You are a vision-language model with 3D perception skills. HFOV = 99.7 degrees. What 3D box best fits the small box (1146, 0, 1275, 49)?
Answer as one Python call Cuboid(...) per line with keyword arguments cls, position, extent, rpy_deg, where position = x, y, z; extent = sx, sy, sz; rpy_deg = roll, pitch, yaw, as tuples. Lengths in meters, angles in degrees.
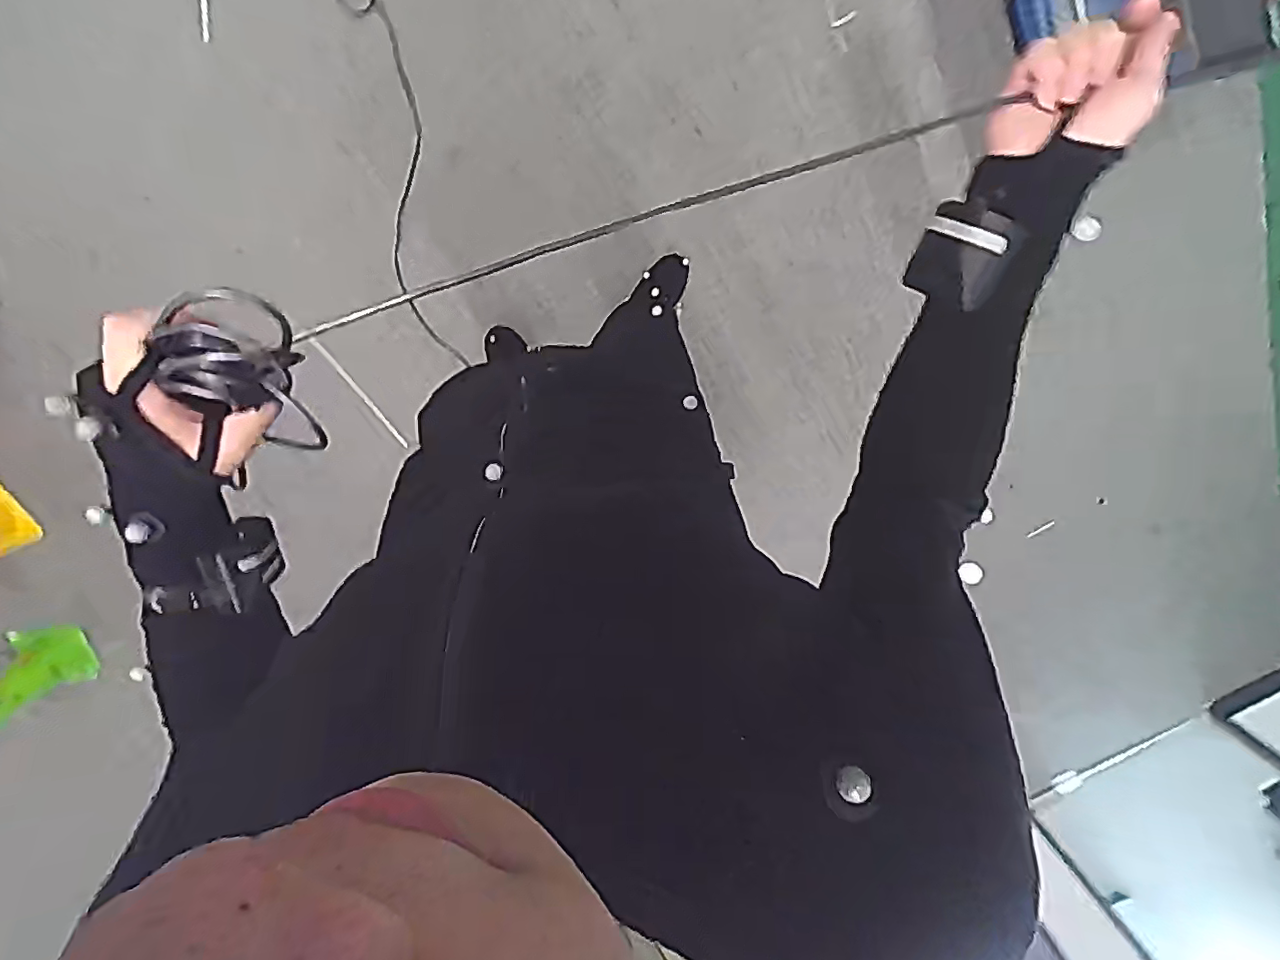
Cuboid(cls="small box", position=(1.213, -1.050, 1.121), extent=(0.179, 0.176, 0.168), rpy_deg=(-30, 114, 7))
